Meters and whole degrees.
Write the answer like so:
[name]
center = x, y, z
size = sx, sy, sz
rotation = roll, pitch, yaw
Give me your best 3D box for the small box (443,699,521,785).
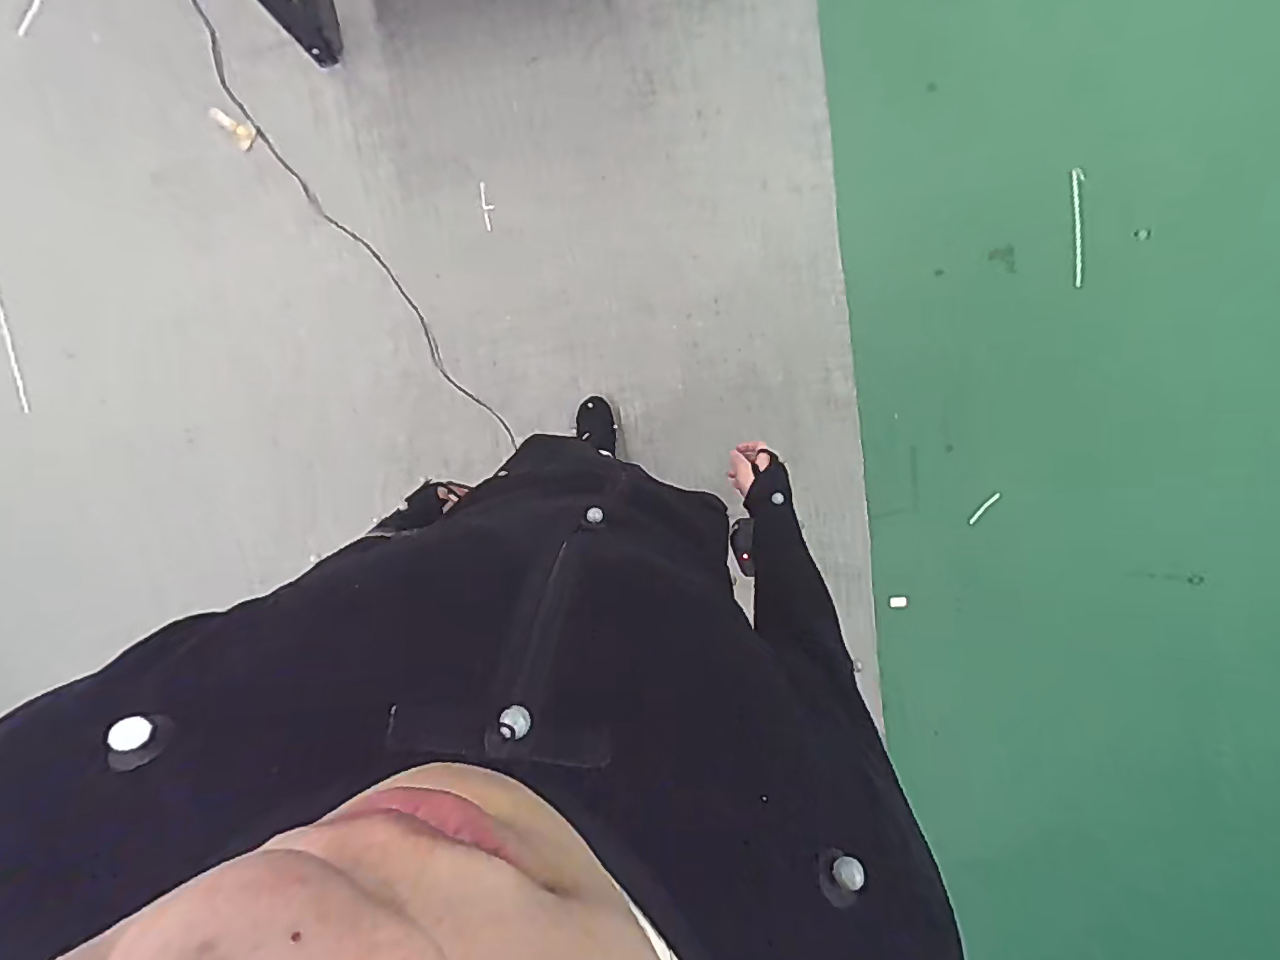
[small box]
center = -0.469, 0.784, 1.635
size = 0.179, 0.176, 0.168
rotation = -8, 95, 3
